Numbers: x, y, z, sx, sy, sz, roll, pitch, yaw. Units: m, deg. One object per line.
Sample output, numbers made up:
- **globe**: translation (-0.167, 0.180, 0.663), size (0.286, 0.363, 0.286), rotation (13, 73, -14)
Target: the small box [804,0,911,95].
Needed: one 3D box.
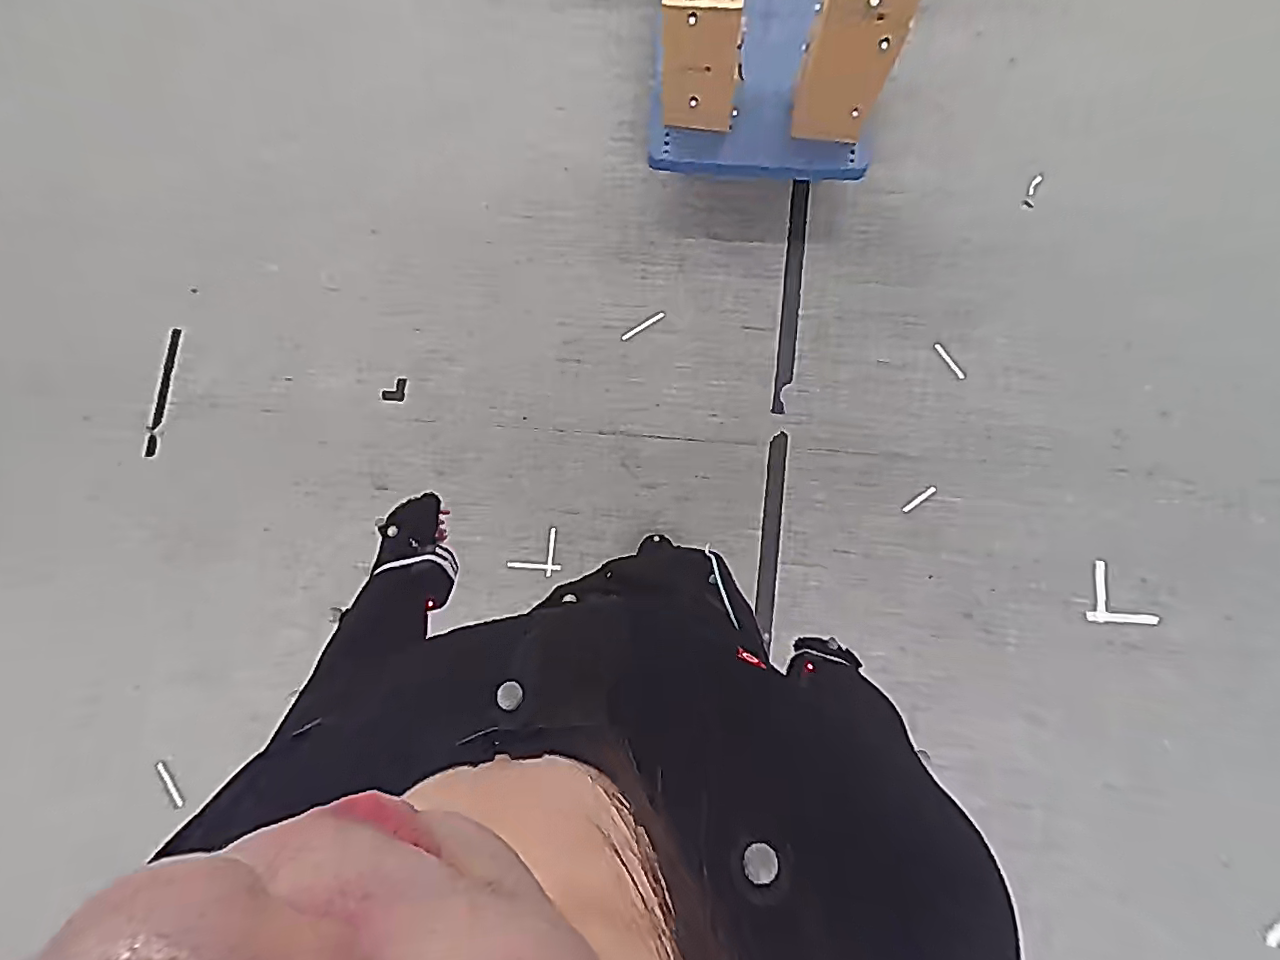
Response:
- **small box**: translation (0.464, -0.968, 1.156), size (0.179, 0.176, 0.168), rotation (11, 85, 4)

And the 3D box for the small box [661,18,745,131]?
- **small box**: translation (0.153, -1.006, 1.342), size (0.179, 0.176, 0.168), rotation (9, 84, 5)

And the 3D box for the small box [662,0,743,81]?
- **small box**: translation (0.138, -1.025, 1.179), size (0.168, 0.176, 0.179), rotation (7, 84, 4)

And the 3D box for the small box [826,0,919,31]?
- **small box**: translation (0.456, -0.988, 0.993), size (0.168, 0.176, 0.179), rotation (12, 85, 4)
